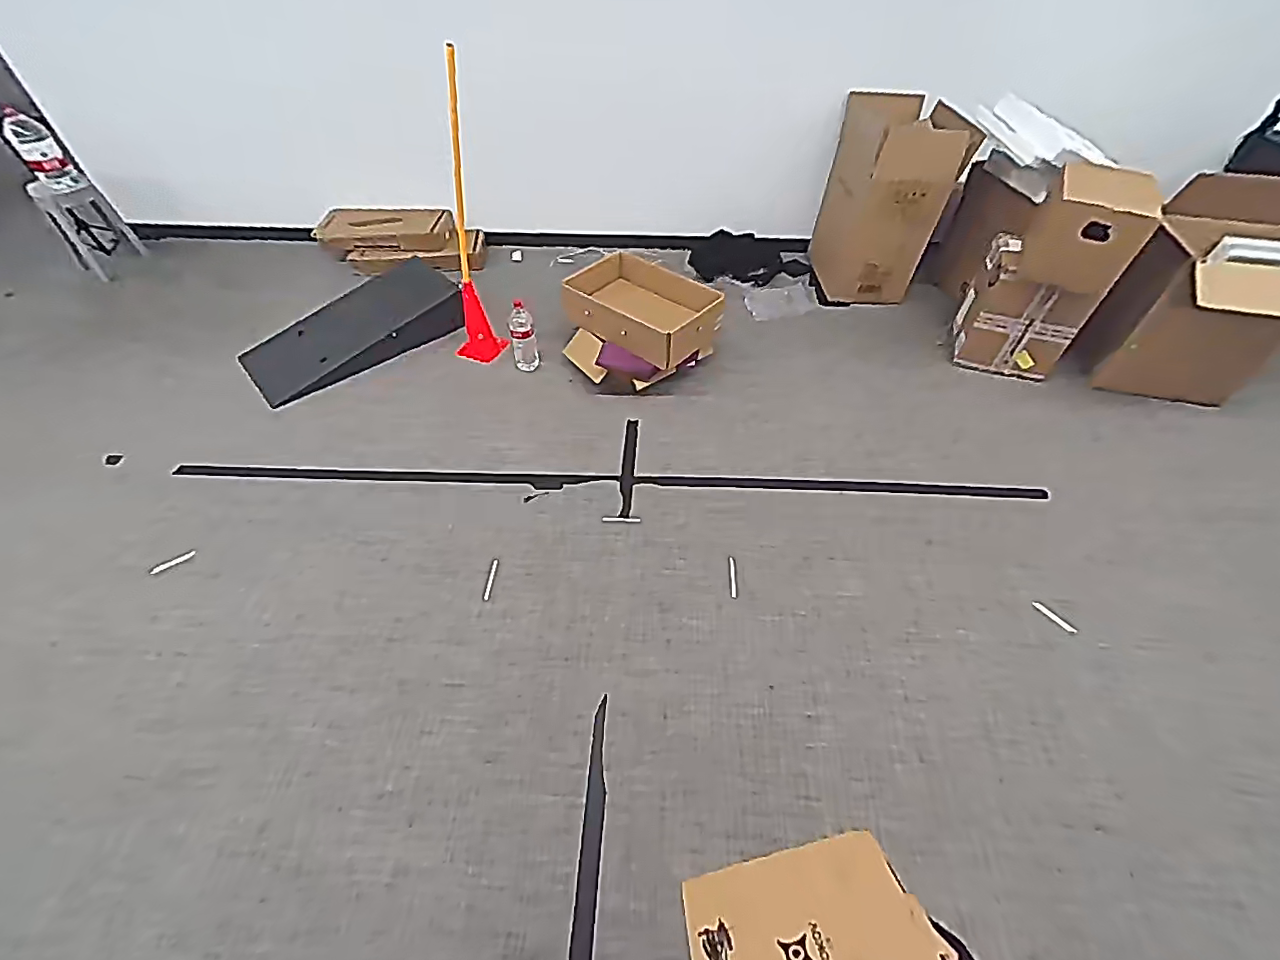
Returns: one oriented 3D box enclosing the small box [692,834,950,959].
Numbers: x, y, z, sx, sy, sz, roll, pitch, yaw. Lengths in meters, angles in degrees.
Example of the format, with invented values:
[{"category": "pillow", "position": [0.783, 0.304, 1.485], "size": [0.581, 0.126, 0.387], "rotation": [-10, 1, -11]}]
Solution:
[{"category": "small box", "position": [0.151, 0.429, 0.418], "size": [0.179, 0.176, 0.168], "rotation": [-15, 10, 0]}]
